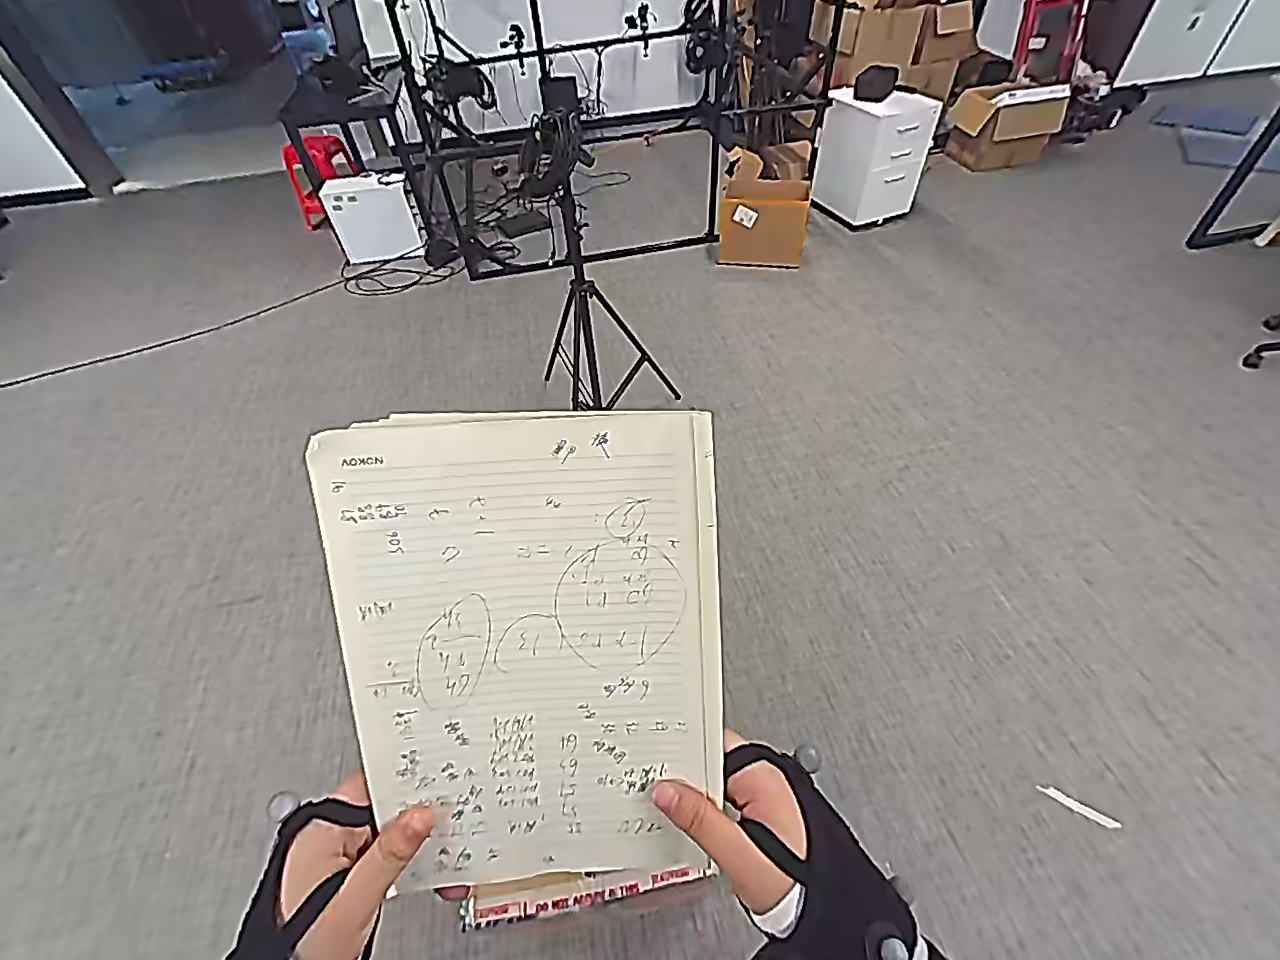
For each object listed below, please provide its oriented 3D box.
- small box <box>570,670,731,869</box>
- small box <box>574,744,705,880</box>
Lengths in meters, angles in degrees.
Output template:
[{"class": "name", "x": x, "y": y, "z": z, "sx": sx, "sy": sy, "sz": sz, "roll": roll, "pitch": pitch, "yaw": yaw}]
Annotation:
[{"class": "small box", "x": 0.005, "y": 0.374, "z": 0.698, "sx": 0.168, "sy": 0.176, "sz": 0.179, "roll": -9, "pitch": 50, "yaw": -7}, {"class": "small box", "x": 0.004, "y": 0.482, "z": 0.822, "sx": 0.179, "sy": 0.176, "sz": 0.168, "roll": -12, "pitch": 50, "yaw": -8}]
